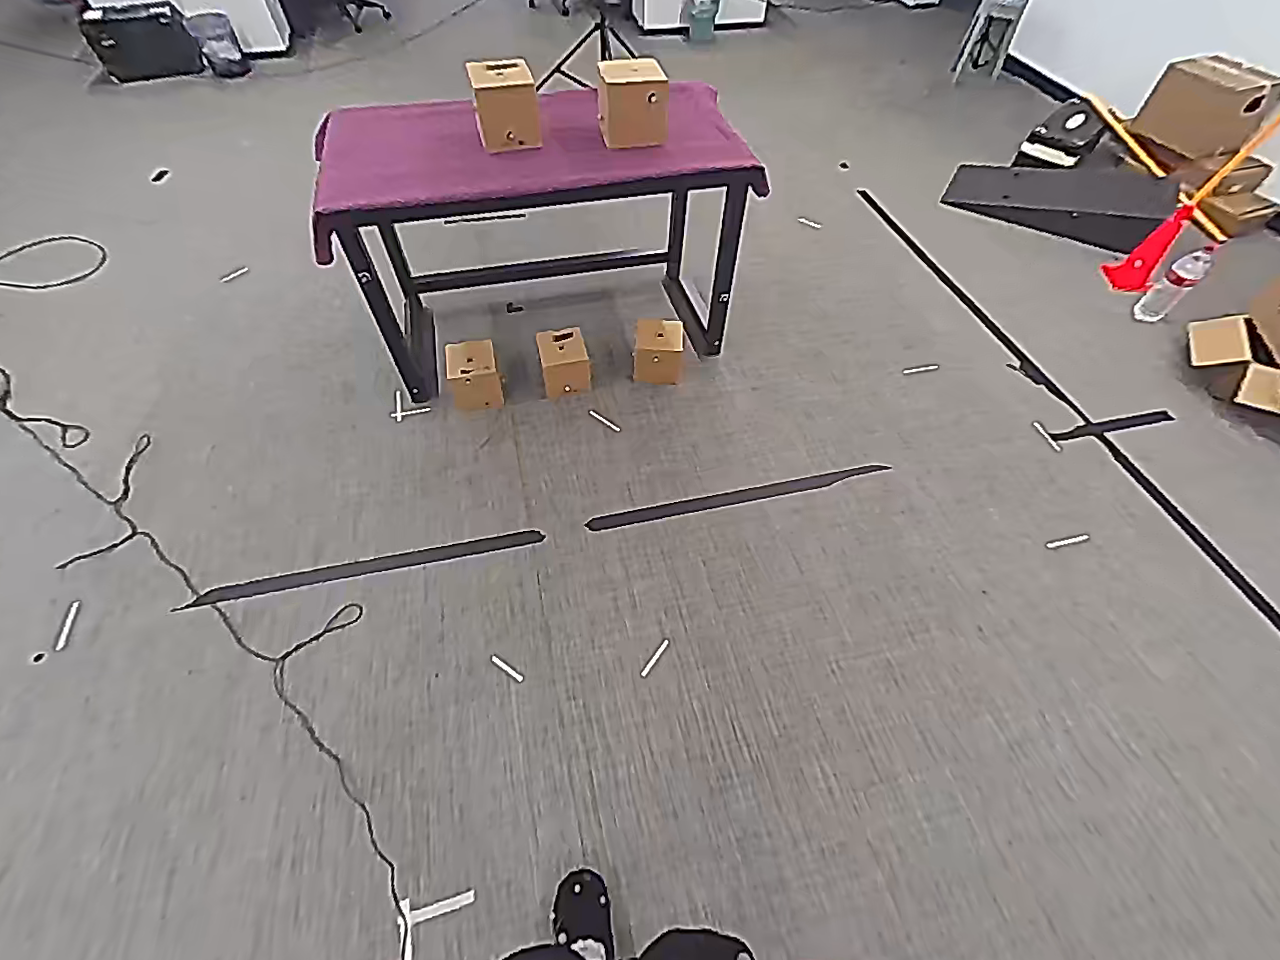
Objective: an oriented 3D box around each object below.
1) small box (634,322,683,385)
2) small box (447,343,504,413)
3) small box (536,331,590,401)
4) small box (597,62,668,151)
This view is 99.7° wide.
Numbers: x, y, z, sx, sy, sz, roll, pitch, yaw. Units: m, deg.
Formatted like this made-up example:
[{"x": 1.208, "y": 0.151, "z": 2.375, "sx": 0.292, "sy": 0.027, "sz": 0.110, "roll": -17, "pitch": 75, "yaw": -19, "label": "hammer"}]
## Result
[{"x": 0.068, "y": -0.475, "z": 2.041, "sx": 0.179, "sy": 0.176, "sz": 0.168, "roll": 2, "pitch": 55, "yaw": 2, "label": "small box"}, {"x": -0.590, "y": -0.366, "z": 1.949, "sx": 0.168, "sy": 0.176, "sz": 0.179, "roll": -10, "pitch": 55, "yaw": -9, "label": "small box"}, {"x": -0.281, "y": -0.420, "z": 1.993, "sx": 0.168, "sy": 0.176, "sz": 0.179, "roll": -12, "pitch": 57, "yaw": -9, "label": "small box"}, {"x": -0.026, "y": -1.088, "z": 1.579, "sx": 0.179, "sy": 0.176, "sz": 0.168, "roll": -10, "pitch": 55, "yaw": -8, "label": "small box"}]
